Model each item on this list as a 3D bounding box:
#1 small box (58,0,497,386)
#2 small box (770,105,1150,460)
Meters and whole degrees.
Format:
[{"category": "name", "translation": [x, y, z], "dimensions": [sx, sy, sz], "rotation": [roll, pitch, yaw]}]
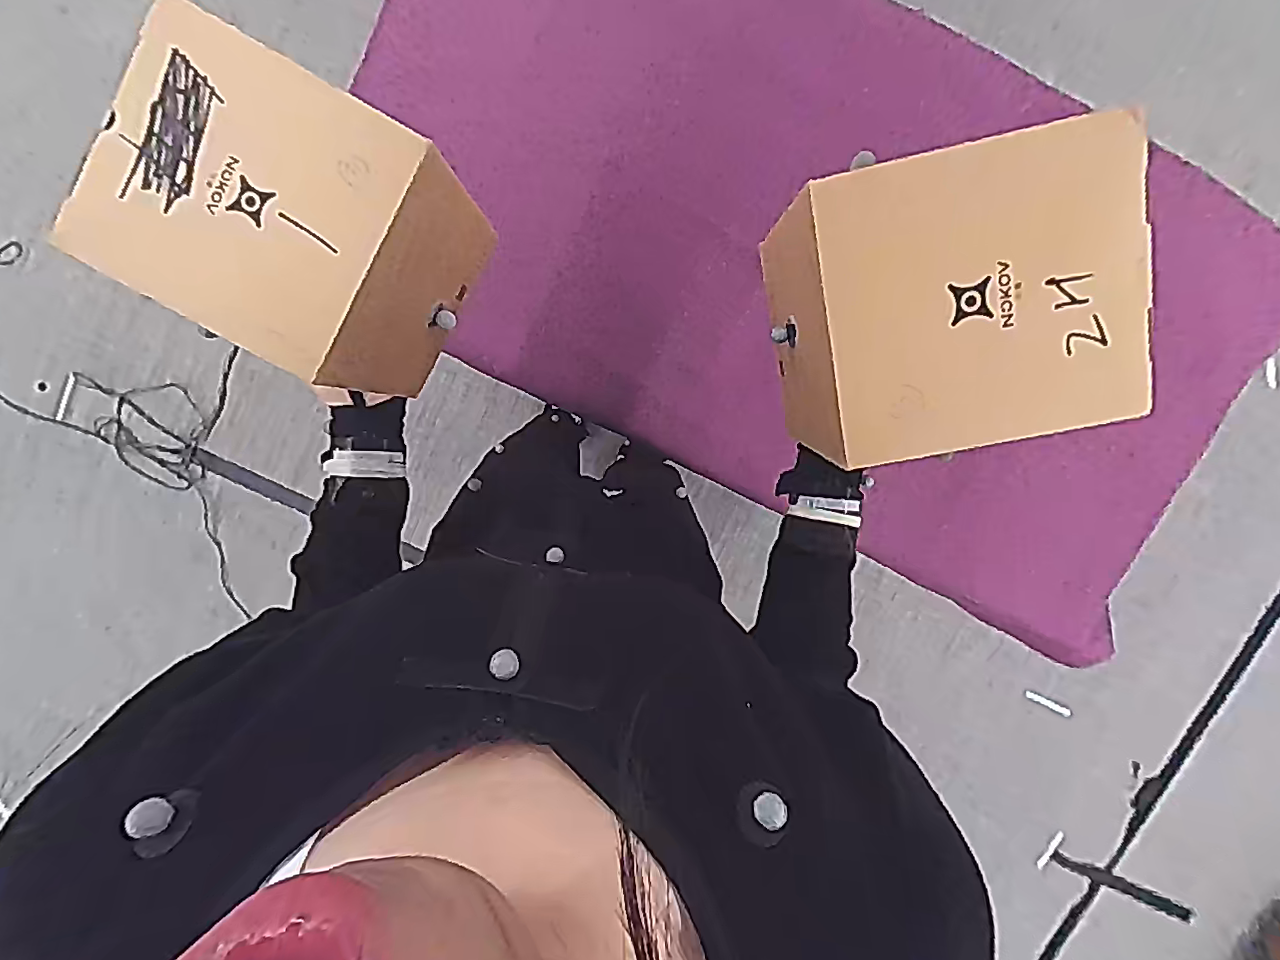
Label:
[{"category": "small box", "translation": [-0.235, -0.180, 0.401], "dimensions": [0.179, 0.176, 0.168], "rotation": [29, 95, -4]}, {"category": "small box", "translation": [0.196, -0.119, 0.382], "dimensions": [0.179, 0.176, 0.168], "rotation": [-11, 102, 4]}]
